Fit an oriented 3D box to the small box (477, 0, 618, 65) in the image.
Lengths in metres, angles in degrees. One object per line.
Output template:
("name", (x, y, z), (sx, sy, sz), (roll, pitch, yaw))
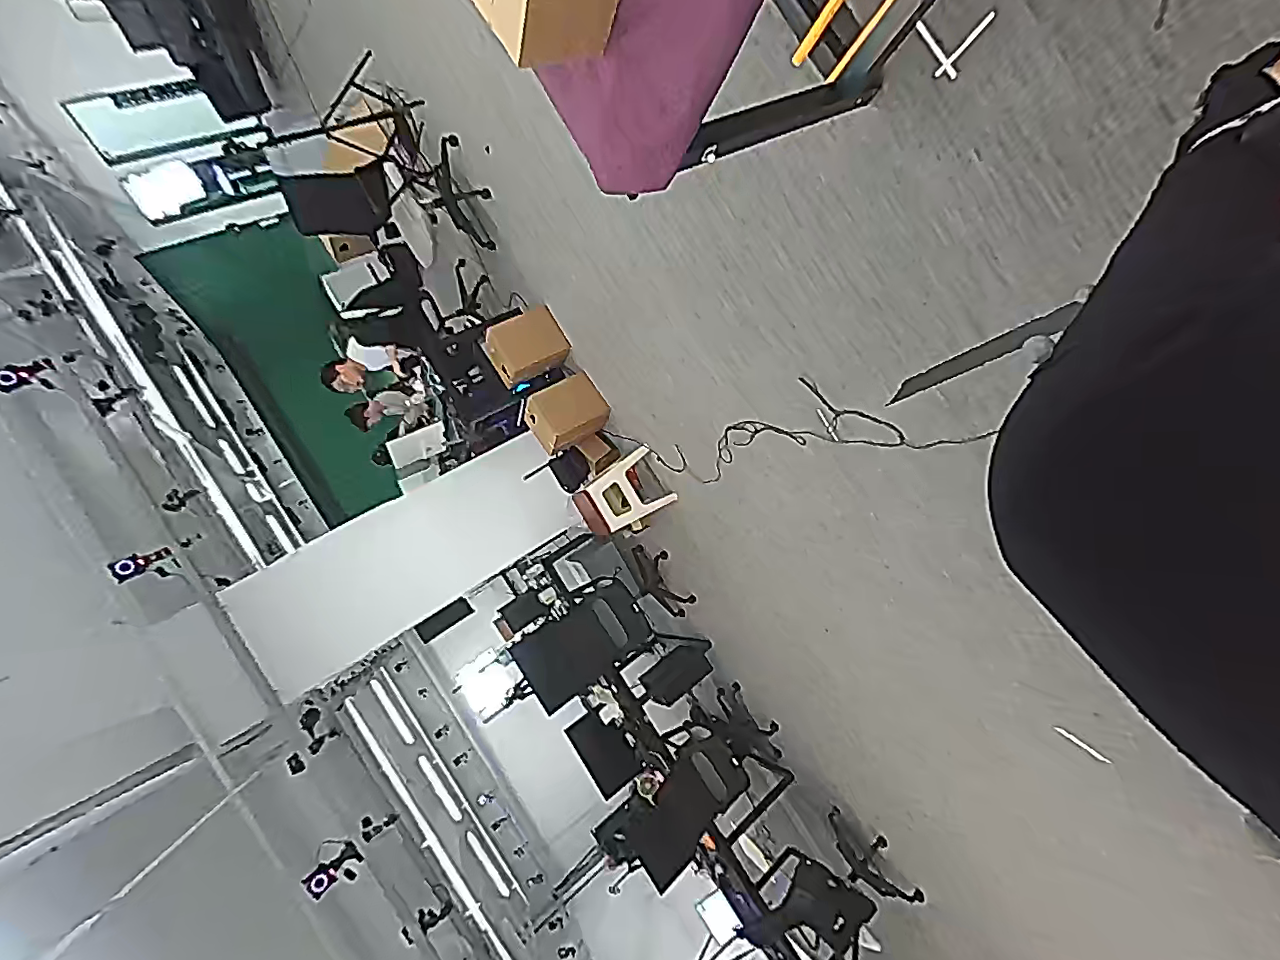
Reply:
("small box", (-0.134, -0.762, 0.786), (0.168, 0.176, 0.179), (57, 155, 3))
